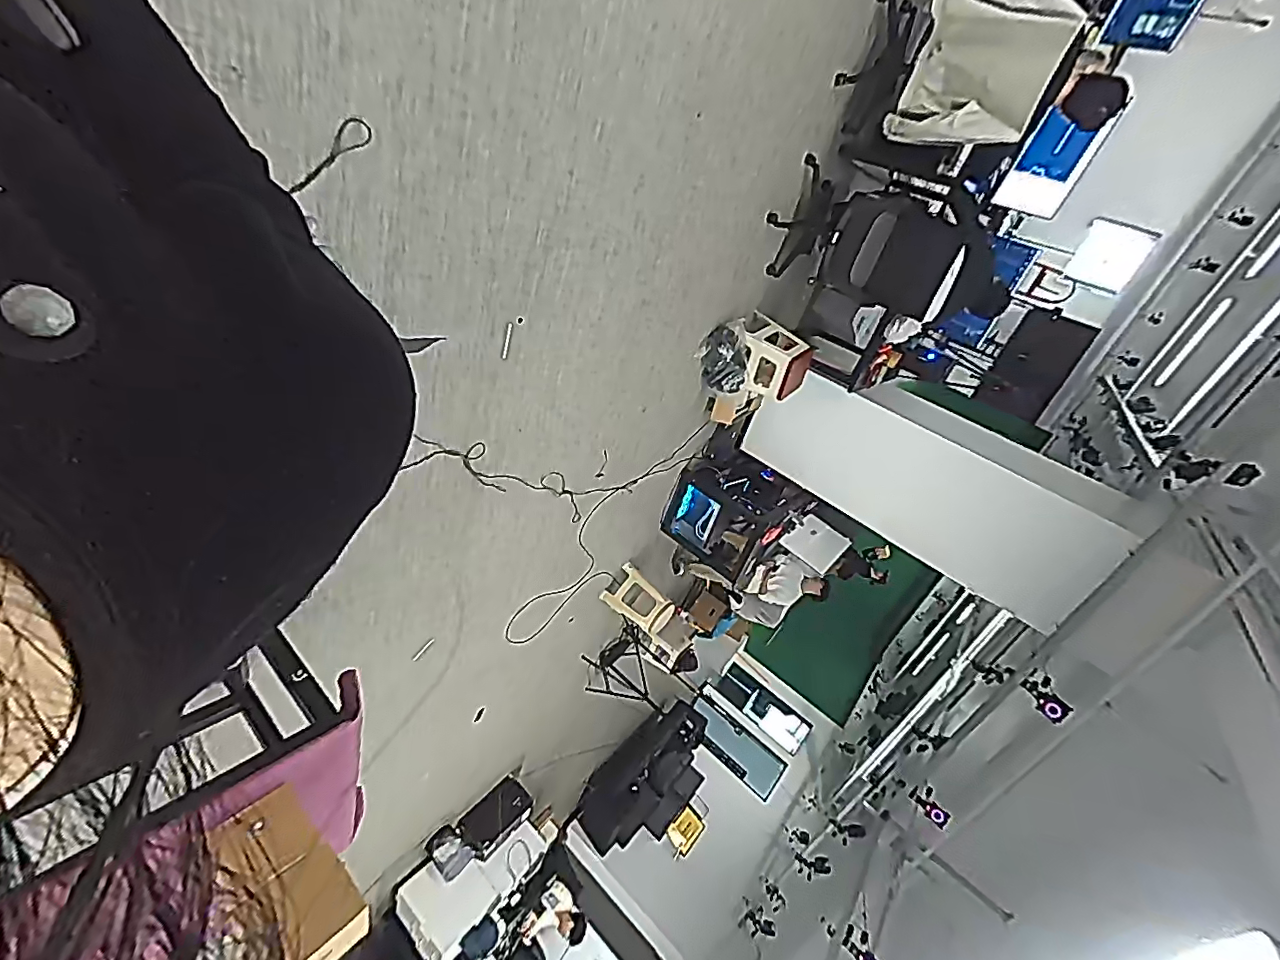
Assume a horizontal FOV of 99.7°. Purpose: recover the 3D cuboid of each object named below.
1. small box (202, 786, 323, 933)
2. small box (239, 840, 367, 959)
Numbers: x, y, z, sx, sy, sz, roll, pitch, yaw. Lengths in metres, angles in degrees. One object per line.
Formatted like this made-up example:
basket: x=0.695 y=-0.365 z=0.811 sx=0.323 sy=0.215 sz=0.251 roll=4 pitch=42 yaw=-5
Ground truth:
small box: x=-0.810 y=0.811 z=1.169 sx=0.168 sy=0.176 sz=0.179 roll=-25 pitch=142 yaw=-49
small box: x=-0.688 y=0.896 z=1.105 sx=0.179 sy=0.176 sz=0.168 roll=-27 pitch=145 yaw=-48
